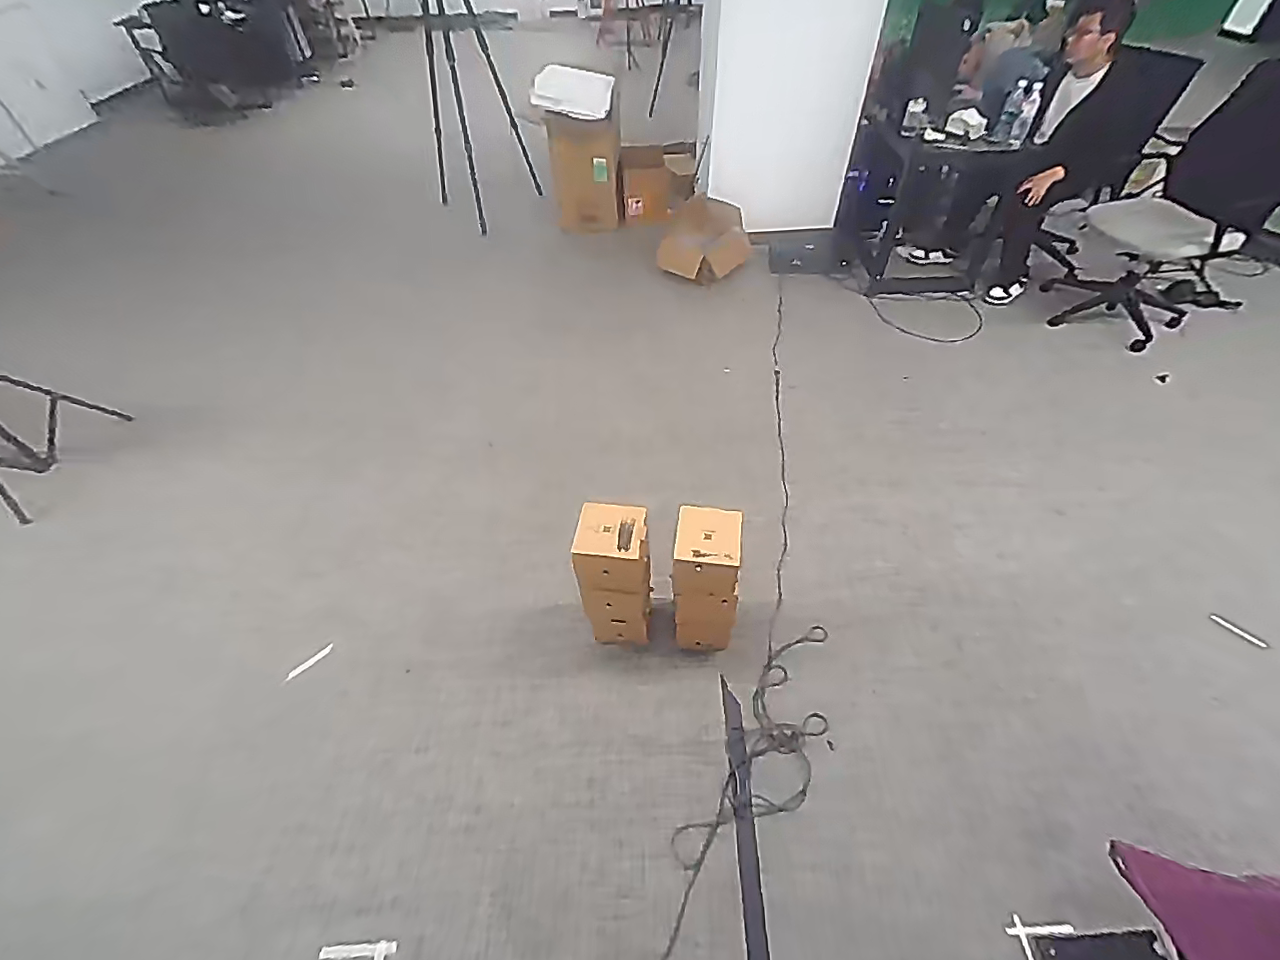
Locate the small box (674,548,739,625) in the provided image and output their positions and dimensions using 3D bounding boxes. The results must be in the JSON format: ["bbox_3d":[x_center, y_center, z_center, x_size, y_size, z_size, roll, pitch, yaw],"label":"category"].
[{"bbox_3d":[0.187,0.309,1.567,0.179,0.176,0.168,0,48,3],"label":"small box"}]

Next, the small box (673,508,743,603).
[{"bbox_3d":[0.180,0.201,1.444,0.168,0.176,0.179,6,48,8],"label":"small box"}]

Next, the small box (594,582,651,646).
[{"bbox_3d":[-0.053,0.401,1.708,0.168,0.176,0.179,2,49,5],"label":"small box"}]

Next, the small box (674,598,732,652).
[{"bbox_3d":[0.192,0.417,1.689,0.168,0.176,0.179,-1,48,2],"label":"small box"}]

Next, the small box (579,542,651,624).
[{"bbox_3d":[-0.065,0.303,1.576,0.179,0.176,0.168,5,48,8],"label":"small box"}]
